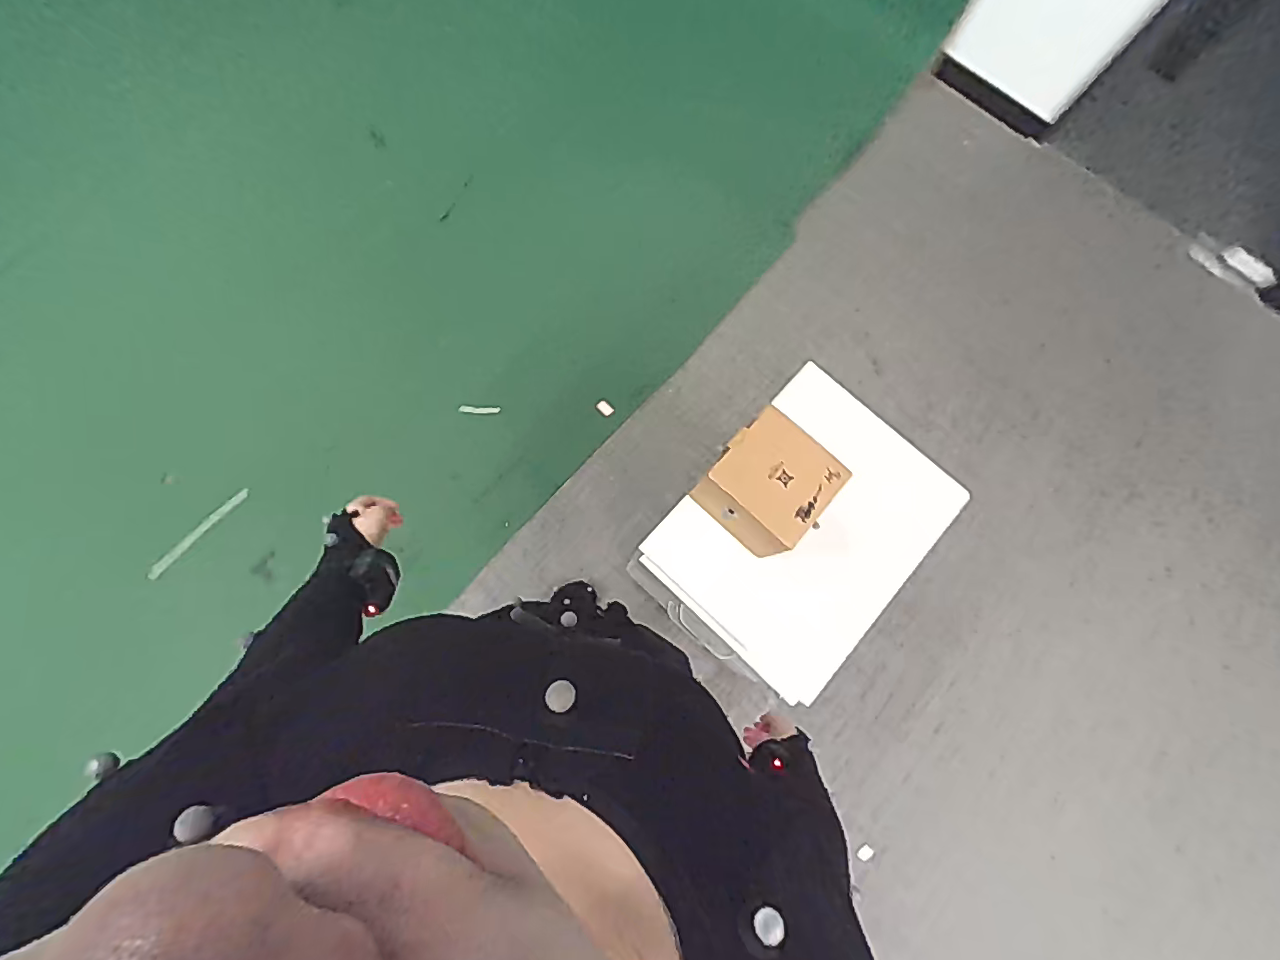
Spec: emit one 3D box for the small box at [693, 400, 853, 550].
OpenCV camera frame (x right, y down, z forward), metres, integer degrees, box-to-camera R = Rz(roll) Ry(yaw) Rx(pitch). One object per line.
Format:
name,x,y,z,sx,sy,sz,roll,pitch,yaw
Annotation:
small box,0.210,0.002,0.913,0.179,0.176,0.168,43,78,5
